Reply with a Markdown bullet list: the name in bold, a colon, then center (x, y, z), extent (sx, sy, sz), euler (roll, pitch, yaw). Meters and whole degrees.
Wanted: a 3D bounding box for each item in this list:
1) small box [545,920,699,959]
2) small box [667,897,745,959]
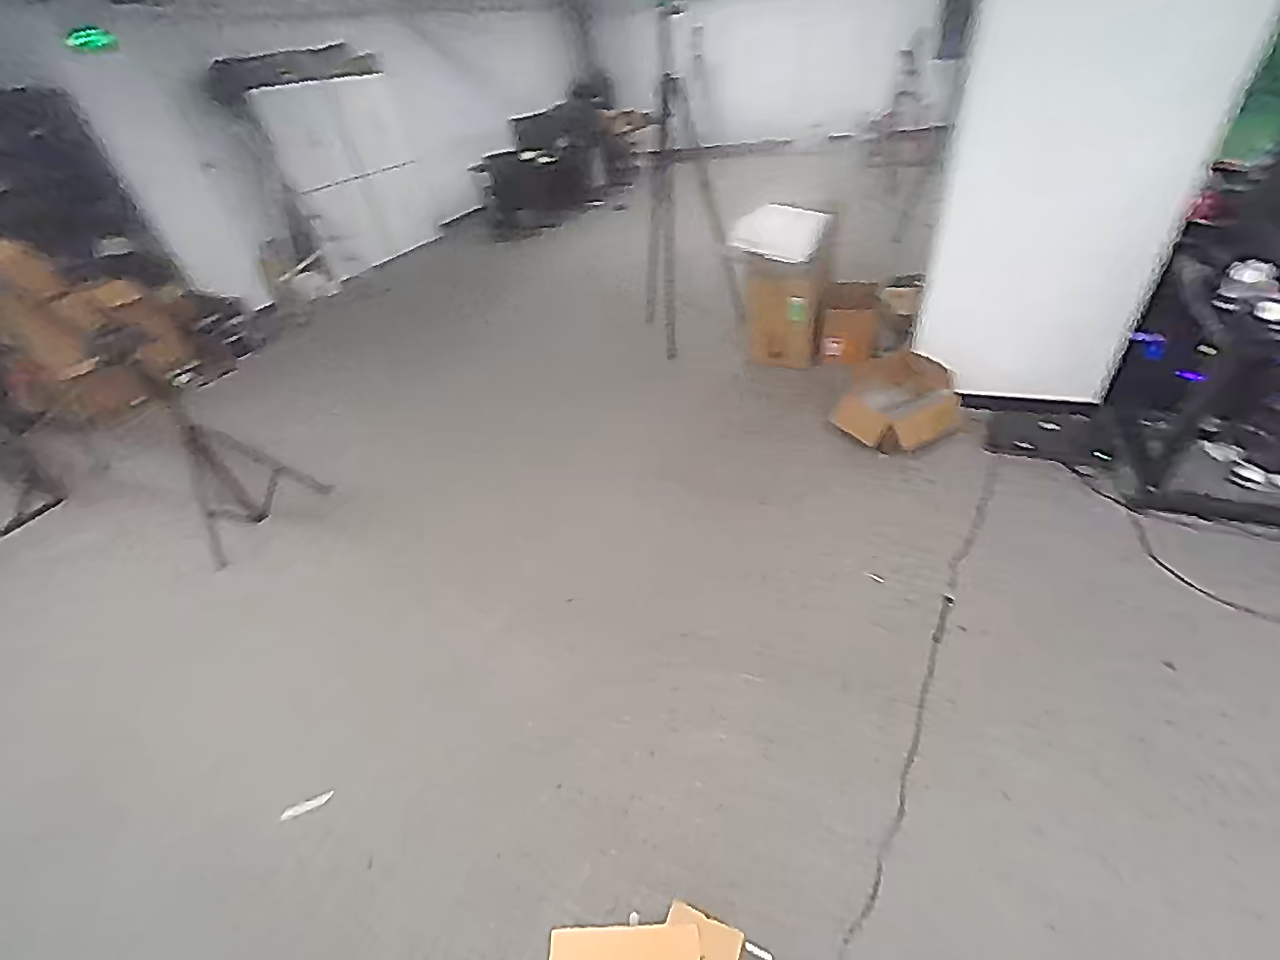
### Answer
- **small box**: center (-0.016, 0.631, 0.622), extent (0.179, 0.176, 0.168), euler (-2, 42, -1)
- **small box**: center (0.124, 1.069, 1.177), extent (0.168, 0.176, 0.179), euler (11, 42, 25)
